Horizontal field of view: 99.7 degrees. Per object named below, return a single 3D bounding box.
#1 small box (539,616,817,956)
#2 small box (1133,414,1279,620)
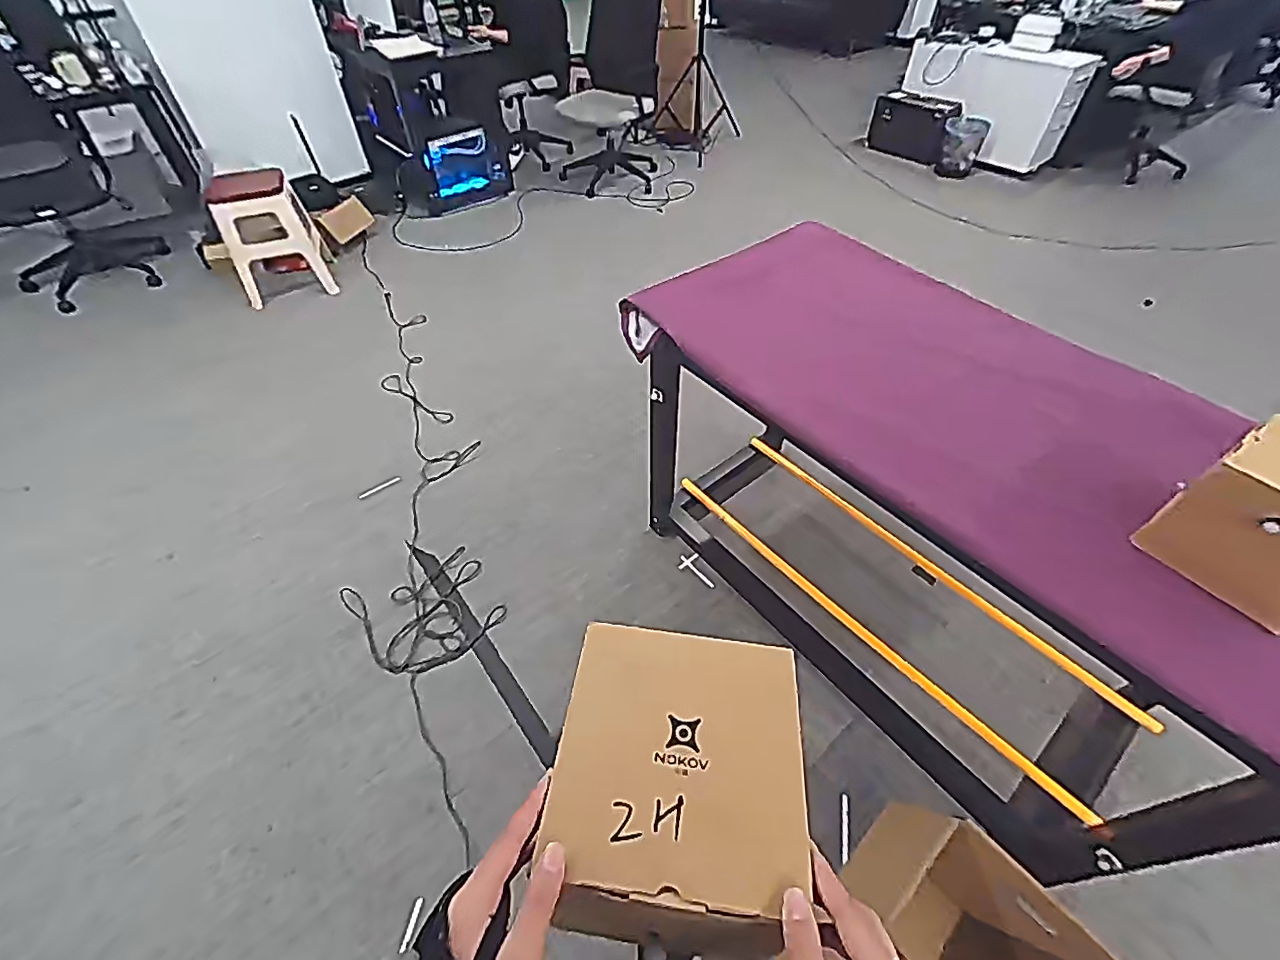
[{"bbox_3d":[0.028,0.236,0.425,0.168,0.176,0.179,6,43,5],"label":"small box"},{"bbox_3d":[0.806,0.053,0.689,0.168,0.176,0.179,-26,52,-23],"label":"small box"}]
